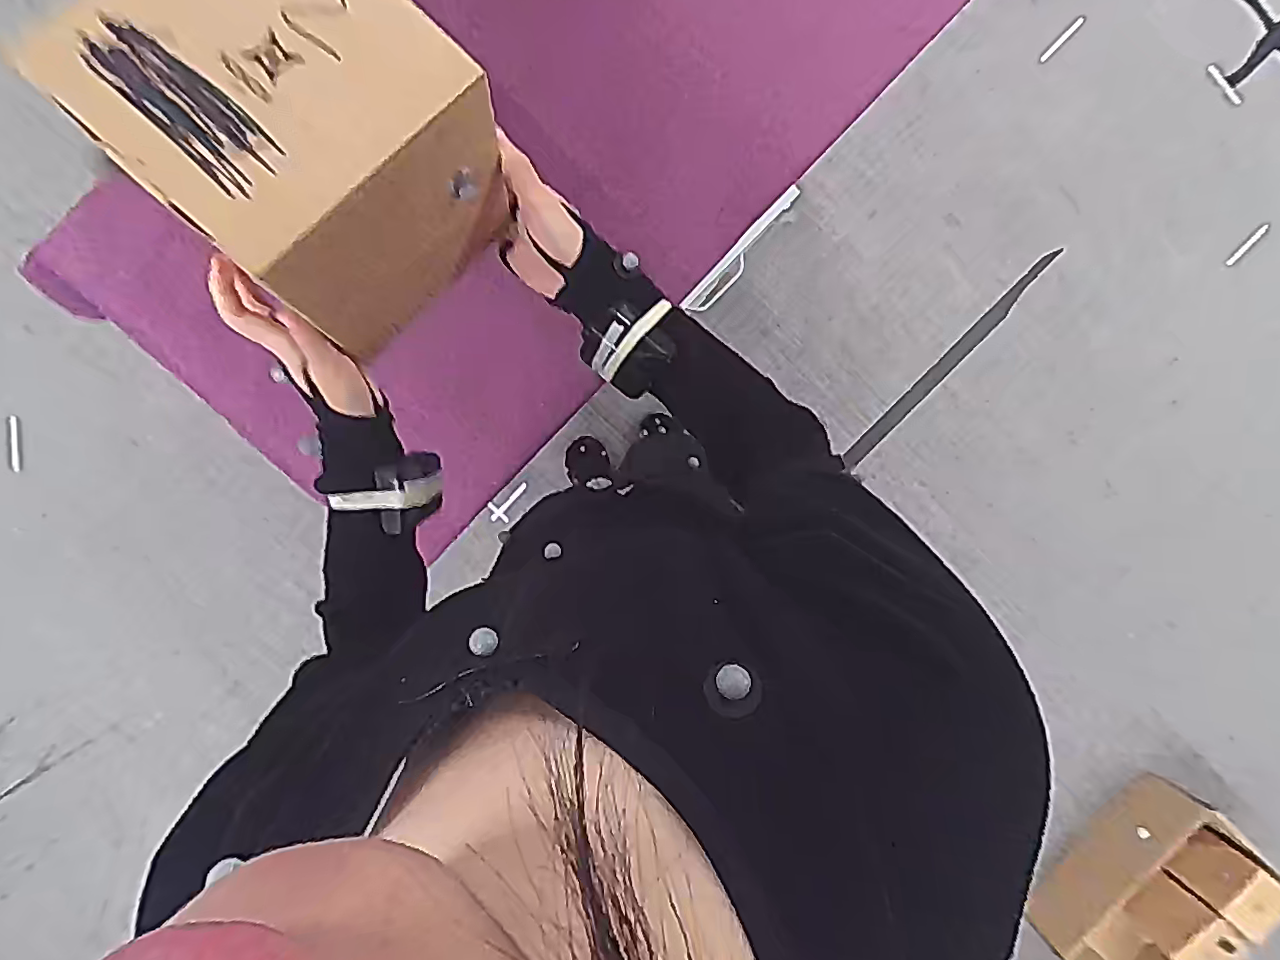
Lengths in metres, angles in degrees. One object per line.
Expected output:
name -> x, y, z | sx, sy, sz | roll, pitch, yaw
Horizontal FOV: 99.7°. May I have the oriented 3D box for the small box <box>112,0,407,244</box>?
small box -> -0.409, -0.408, 0.618 | 0.168, 0.176, 0.179 | -40, 99, 2
